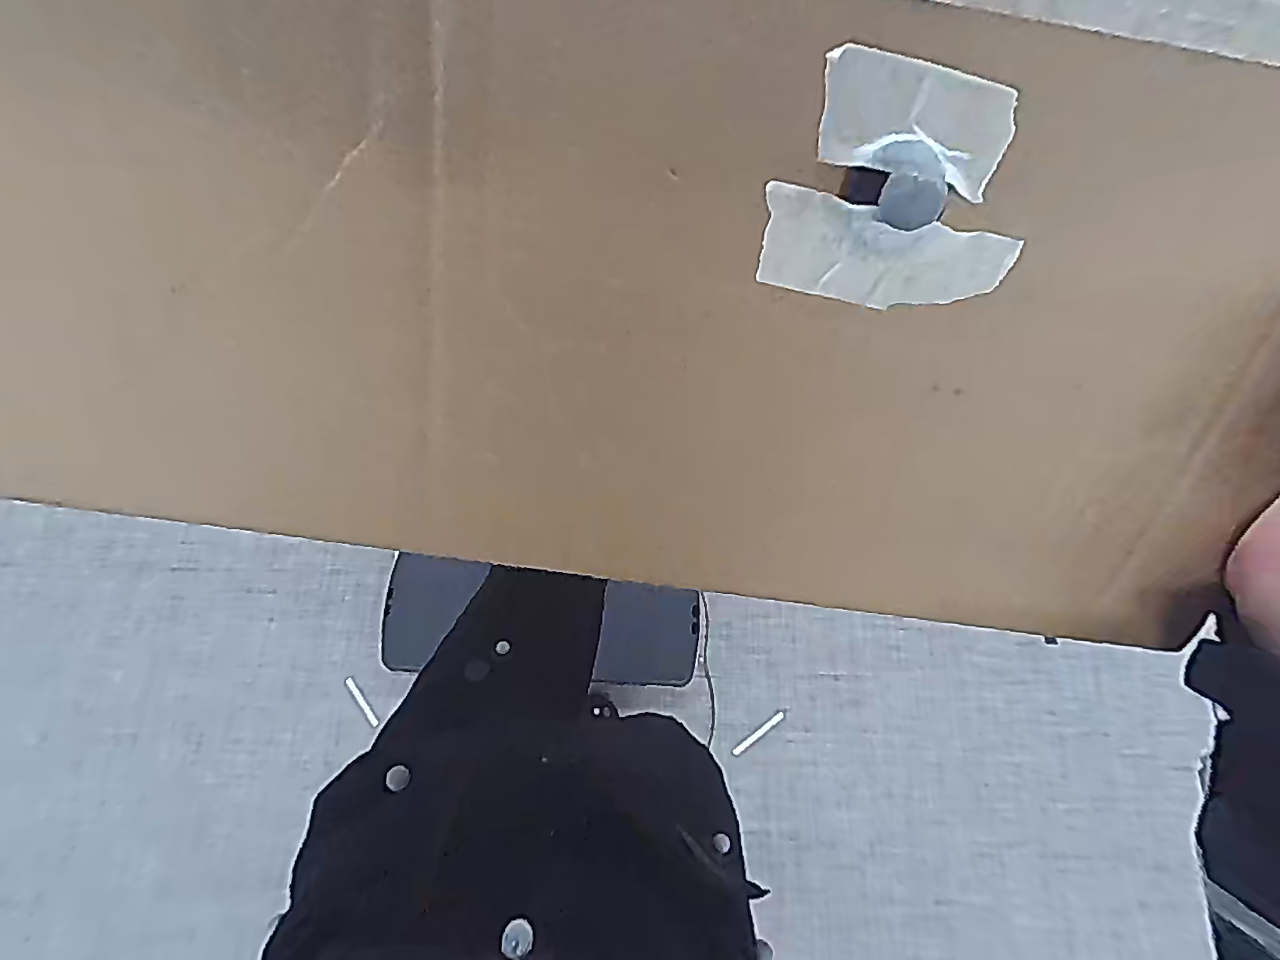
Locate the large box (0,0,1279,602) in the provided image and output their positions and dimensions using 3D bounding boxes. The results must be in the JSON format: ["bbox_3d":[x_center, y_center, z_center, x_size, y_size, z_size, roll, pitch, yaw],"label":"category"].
[{"bbox_3d":[-0.001,-0.176,0.255,0.408,0.320,0.320,8,114,-4],"label":"large box"}]
